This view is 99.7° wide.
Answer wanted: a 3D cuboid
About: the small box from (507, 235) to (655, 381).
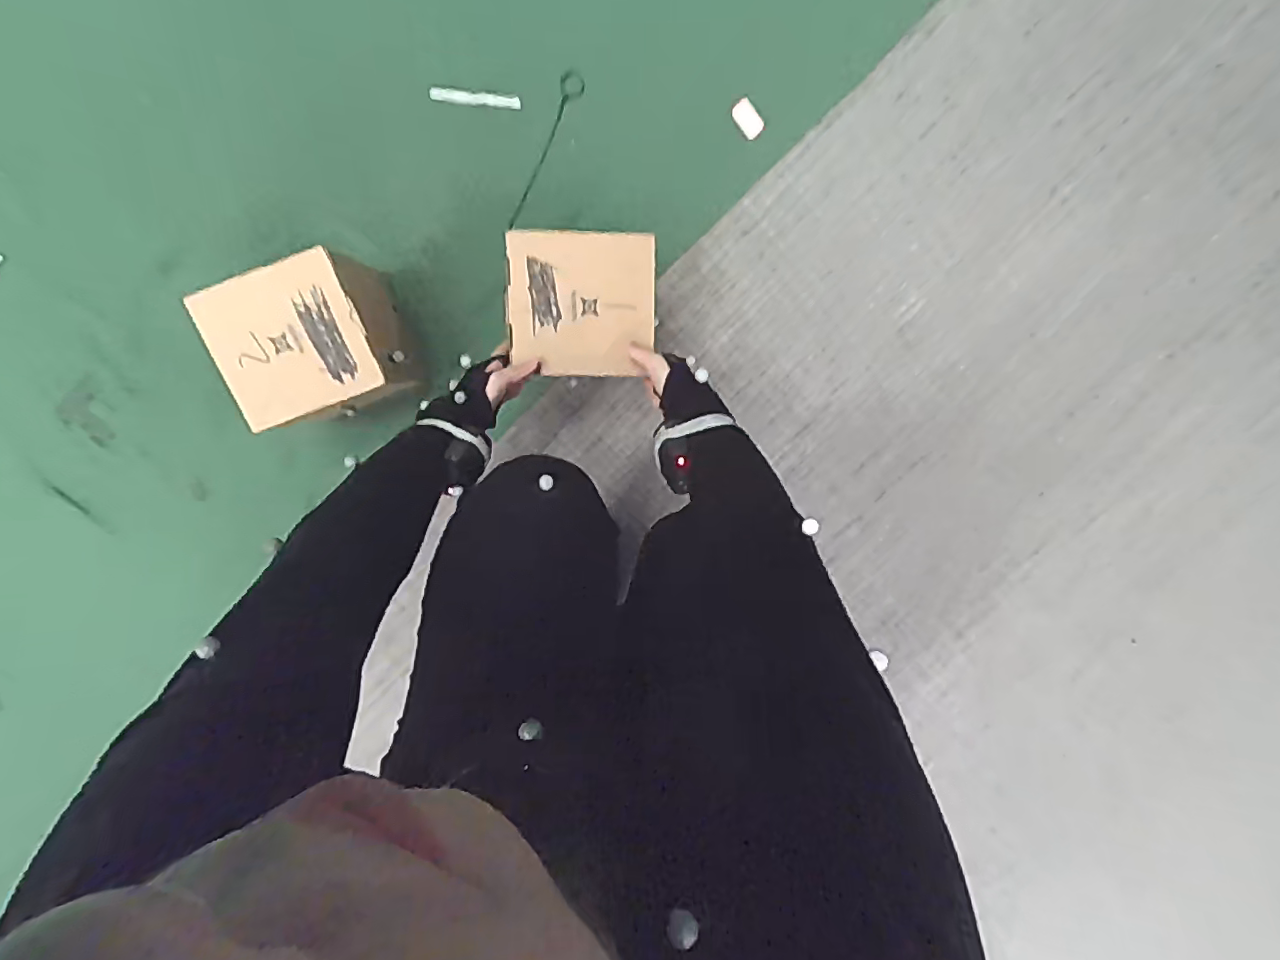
[{"bbox_3d":[-0.077,-0.219,0.728,0.179,0.176,0.168,0,101,-5],"label":"small box"}]
